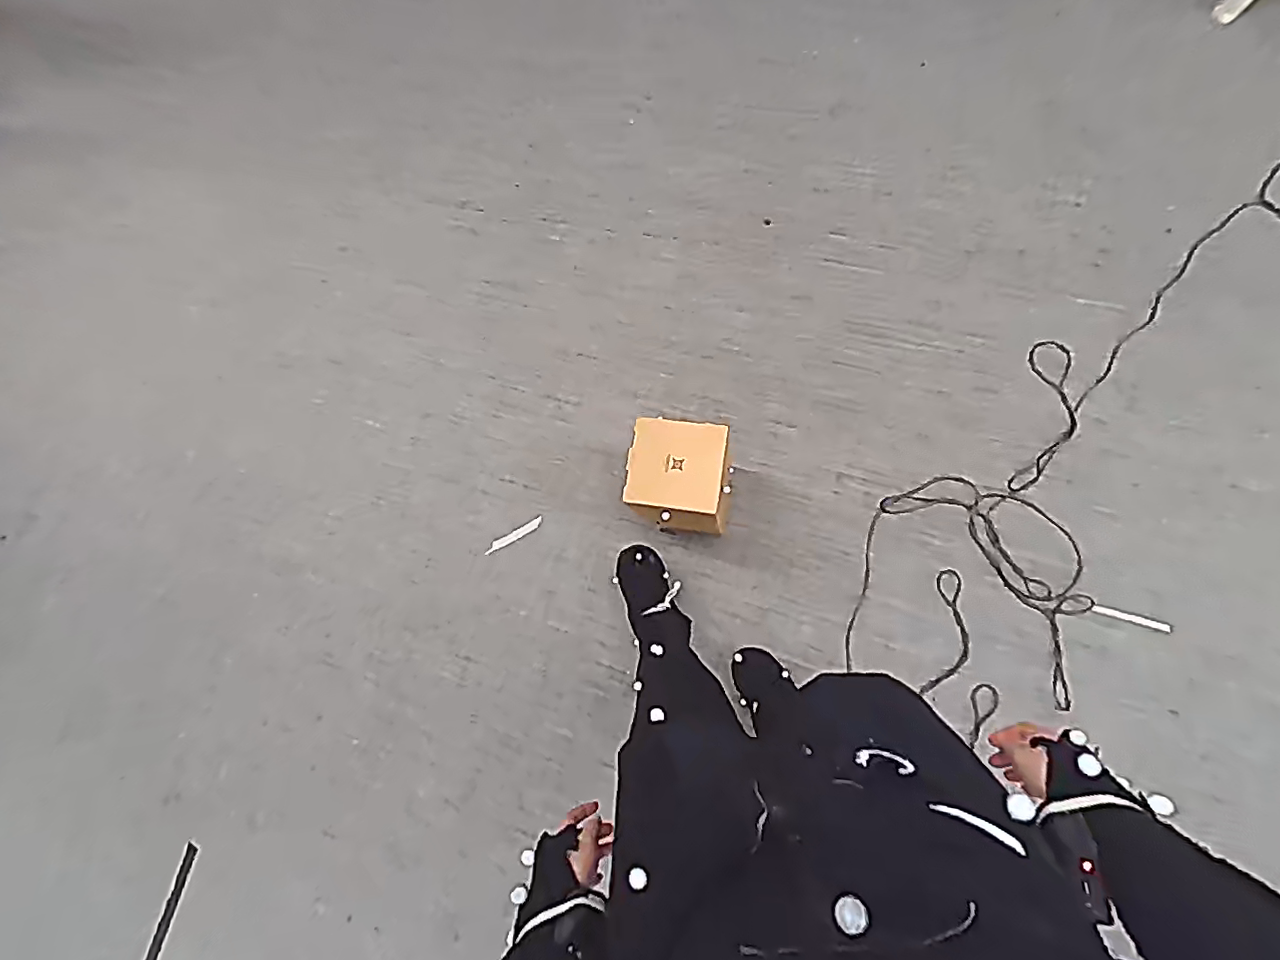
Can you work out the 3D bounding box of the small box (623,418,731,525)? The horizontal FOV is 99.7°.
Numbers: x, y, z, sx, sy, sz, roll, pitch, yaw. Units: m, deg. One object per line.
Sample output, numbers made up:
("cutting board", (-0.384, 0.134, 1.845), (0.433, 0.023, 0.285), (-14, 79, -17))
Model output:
("small box", (0.081, -0.010, 1.049), (0.179, 0.176, 0.168), (7, 79, 13))
